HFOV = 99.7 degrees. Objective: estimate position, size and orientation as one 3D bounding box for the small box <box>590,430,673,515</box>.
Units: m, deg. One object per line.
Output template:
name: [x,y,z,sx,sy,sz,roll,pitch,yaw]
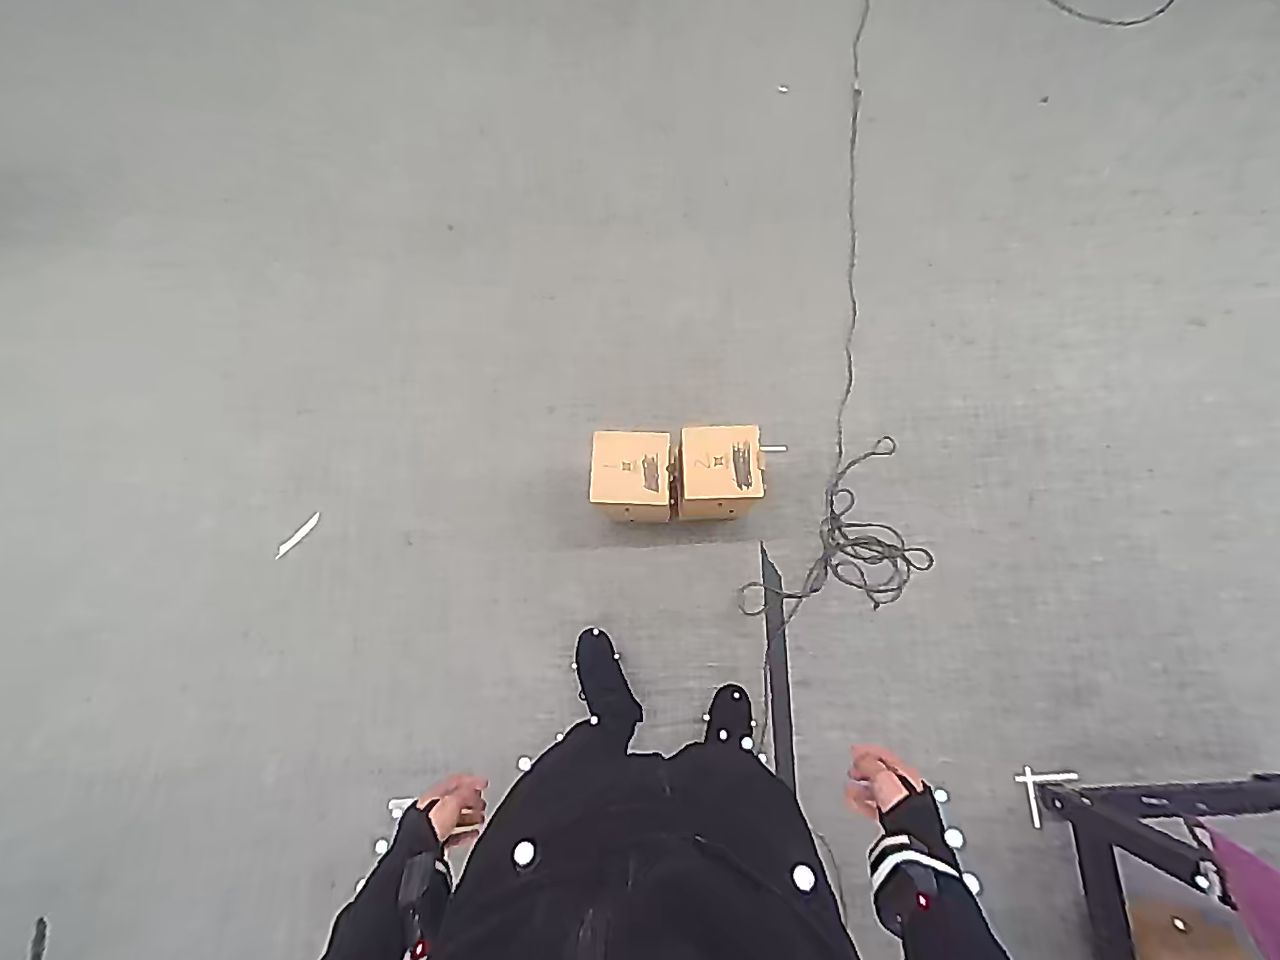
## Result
small box: [-0.013,-0.012,1.261,0.179,0.176,0.168,2,78,5]
